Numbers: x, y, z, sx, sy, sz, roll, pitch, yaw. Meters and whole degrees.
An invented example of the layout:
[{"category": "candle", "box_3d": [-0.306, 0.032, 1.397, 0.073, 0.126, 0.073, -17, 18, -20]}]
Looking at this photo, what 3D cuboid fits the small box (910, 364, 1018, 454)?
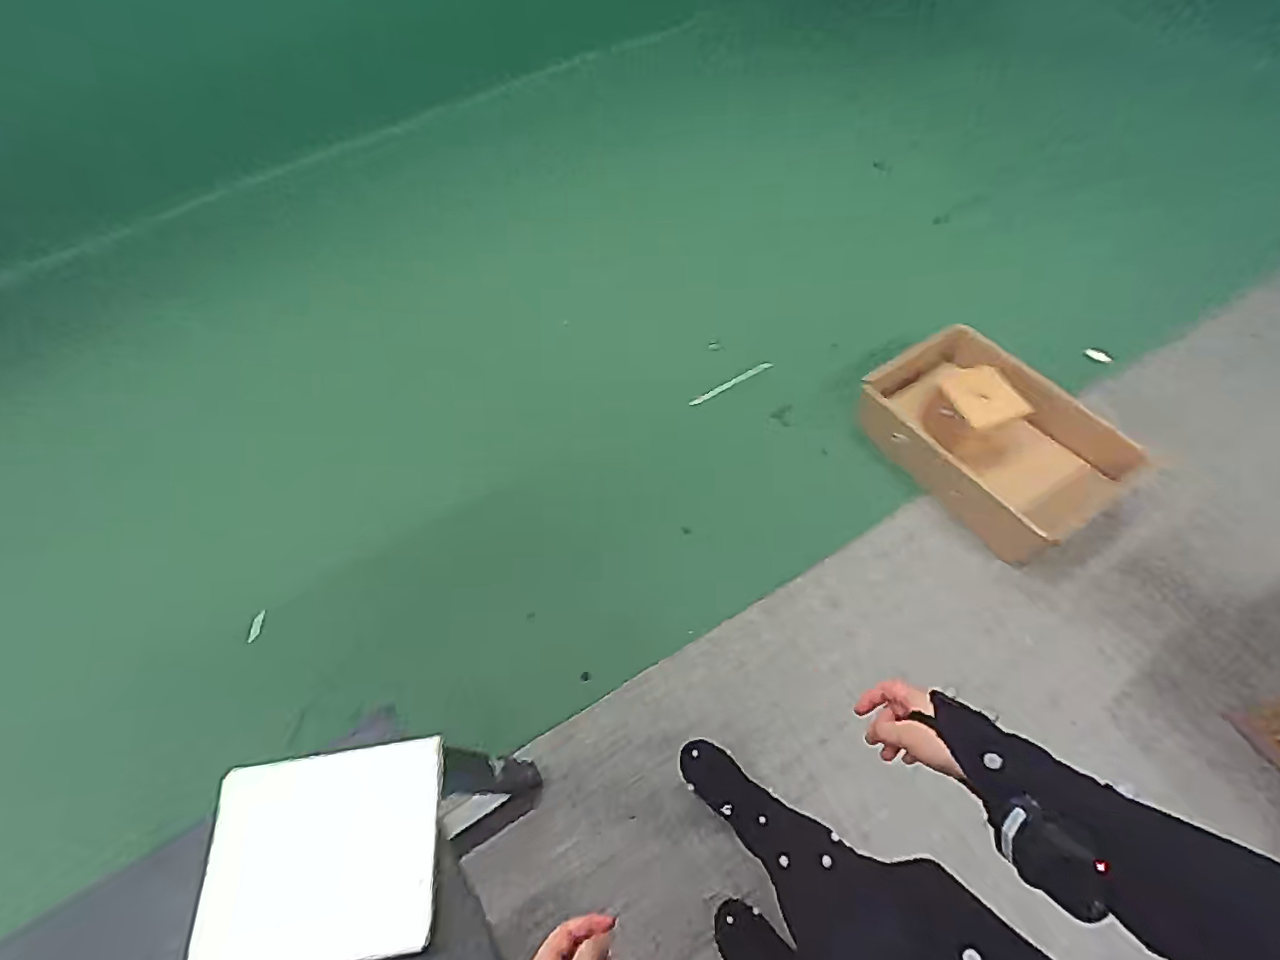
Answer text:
[{"category": "small box", "box_3d": [0.915, -0.194, 1.547, 0.168, 0.176, 0.179, -19, 60, -7]}]
